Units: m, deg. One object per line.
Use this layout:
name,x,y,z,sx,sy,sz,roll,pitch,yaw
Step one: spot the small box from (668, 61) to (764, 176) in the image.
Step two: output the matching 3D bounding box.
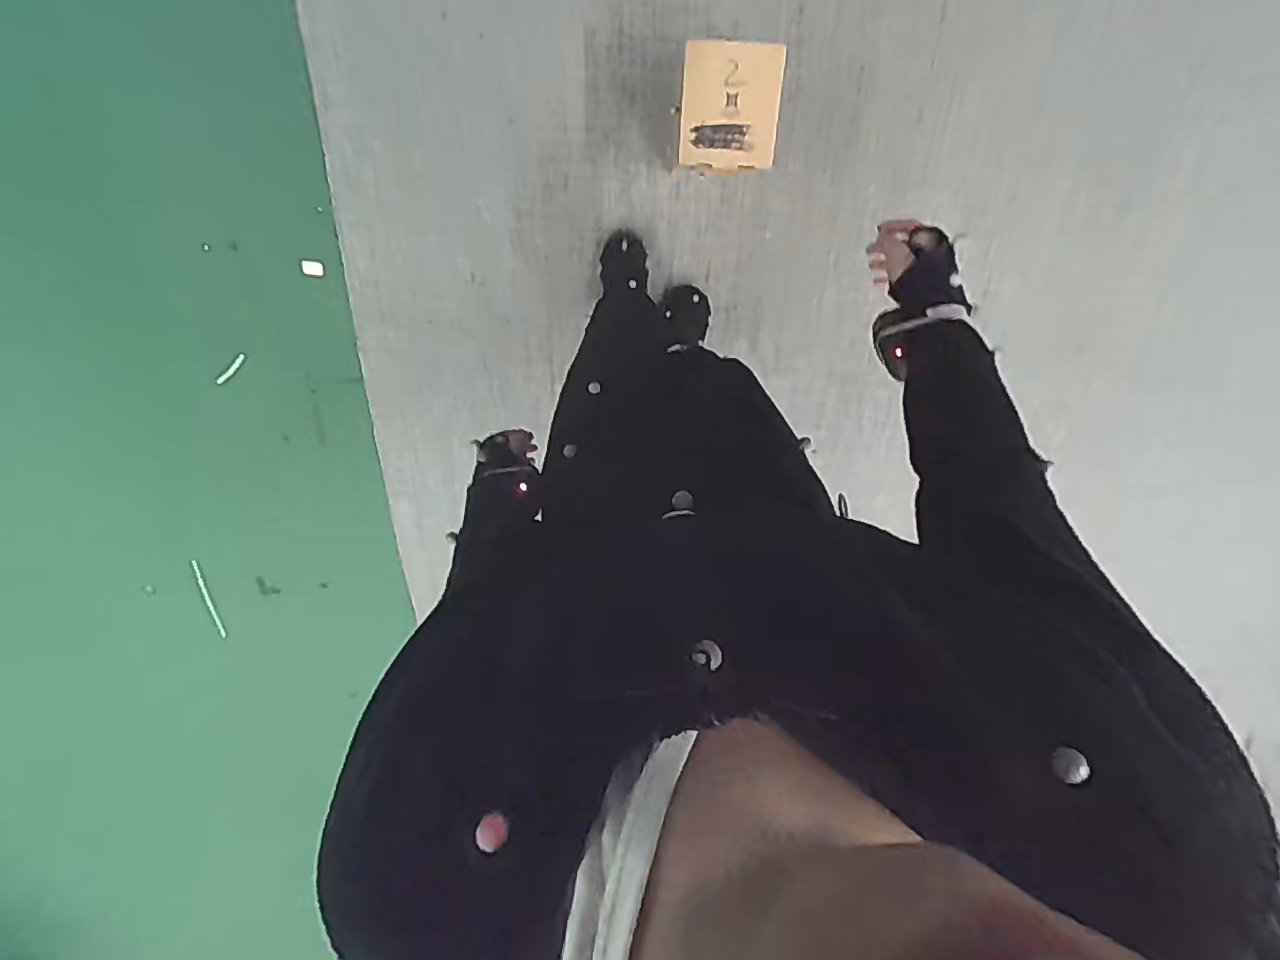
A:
small box,0.147,-0.739,1.122,0.168,0.176,0.179,1,117,-2
